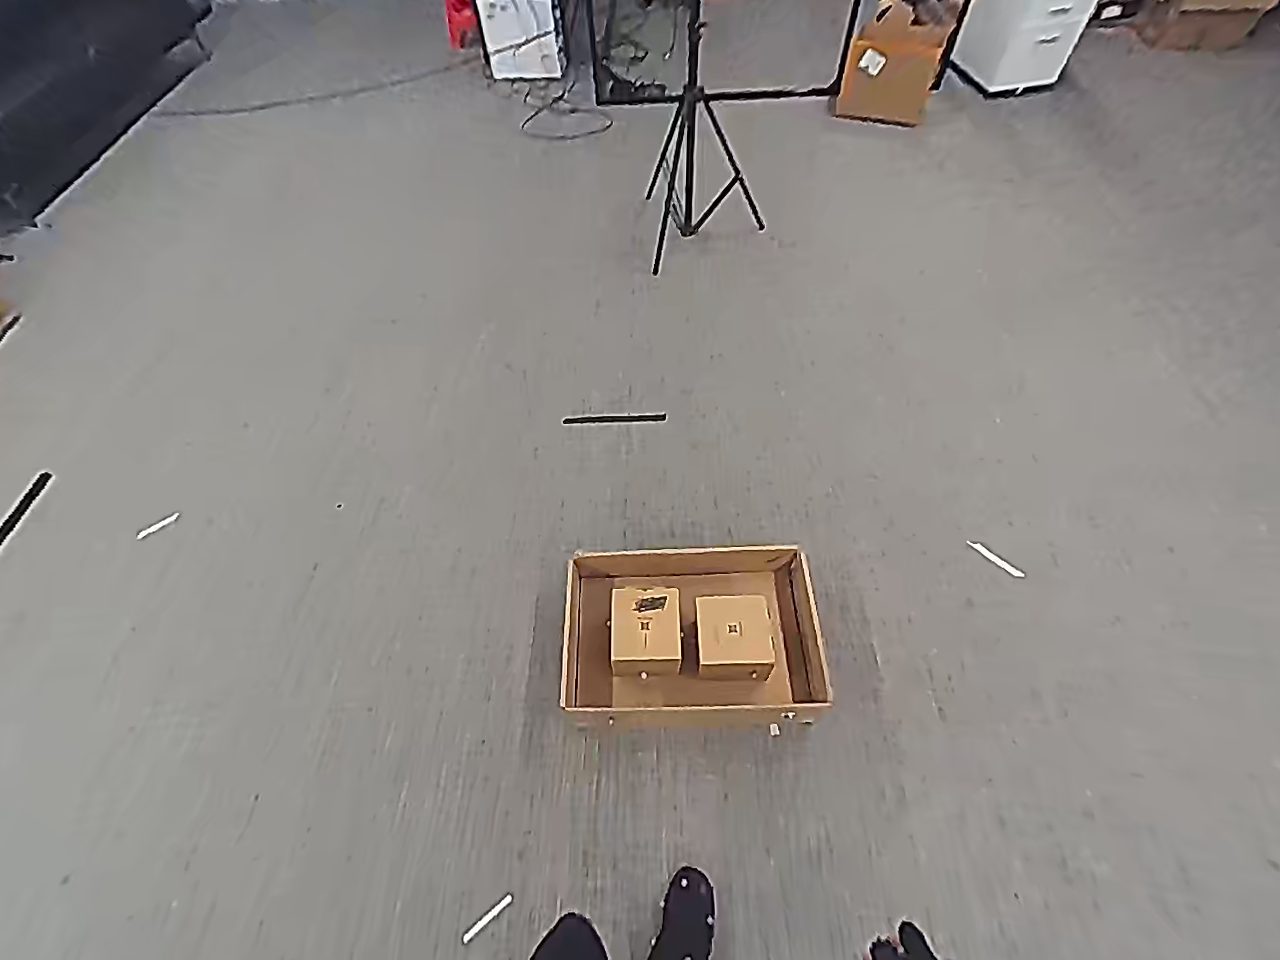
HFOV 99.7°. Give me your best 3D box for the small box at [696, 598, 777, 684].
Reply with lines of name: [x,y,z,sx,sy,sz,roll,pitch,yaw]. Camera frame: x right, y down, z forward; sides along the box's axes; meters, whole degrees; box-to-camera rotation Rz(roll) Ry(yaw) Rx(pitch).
small box: [0.232,0.403,1.345,0.179,0.176,0.168,-2,56,4]
